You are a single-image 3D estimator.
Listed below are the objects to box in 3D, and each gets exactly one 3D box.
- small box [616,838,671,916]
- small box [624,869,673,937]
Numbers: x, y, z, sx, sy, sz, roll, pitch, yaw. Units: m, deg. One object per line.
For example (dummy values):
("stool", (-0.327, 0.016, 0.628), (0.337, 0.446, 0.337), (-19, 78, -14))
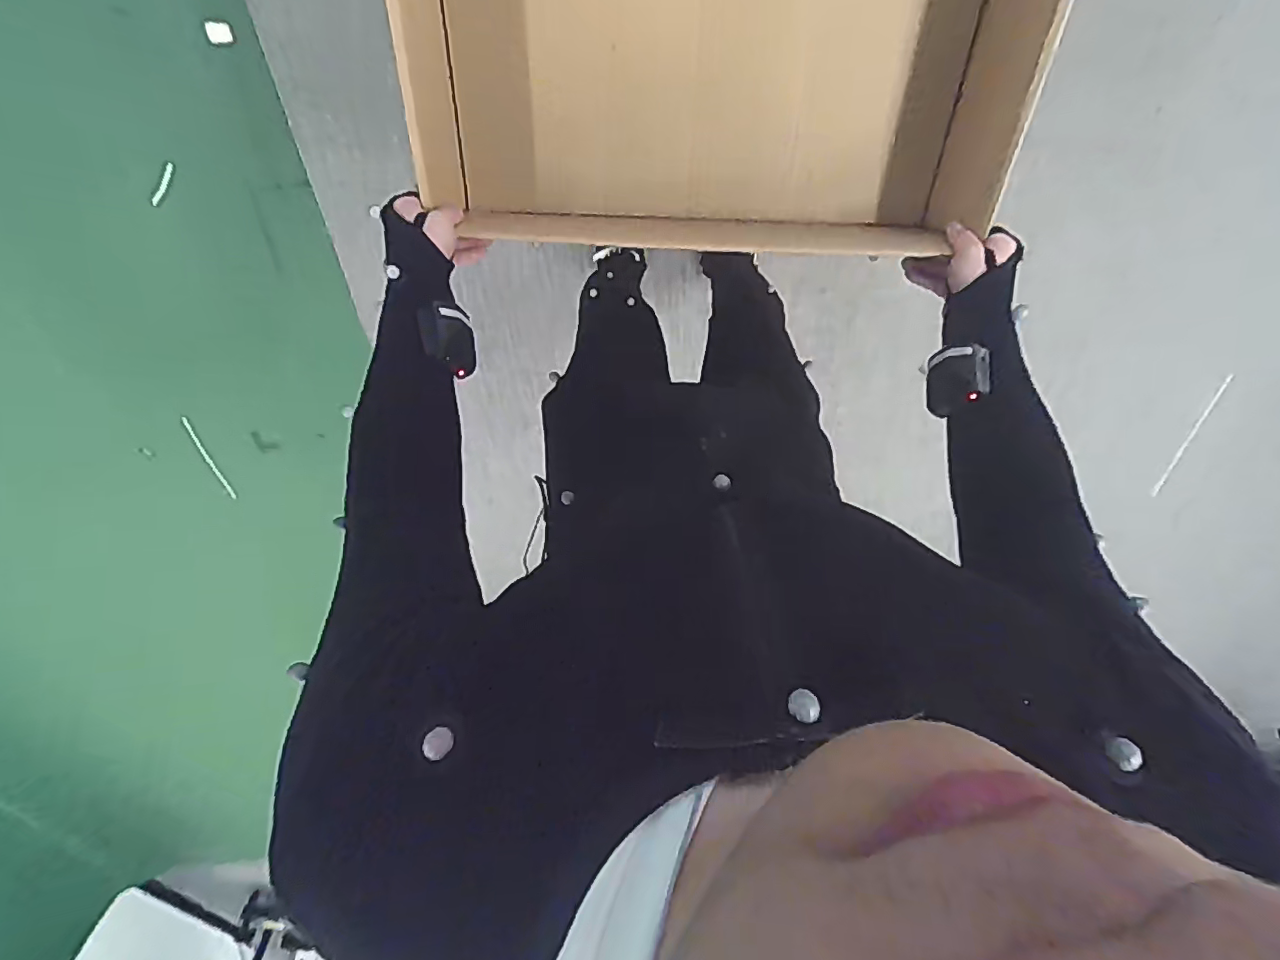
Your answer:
("small box", (0.012, 1.315, 1.792), (0.168, 0.176, 0.179), (-6, 128, 2))
("small box", (0.033, 1.521, 1.950), (0.168, 0.176, 0.179), (-3, 126, 2))
